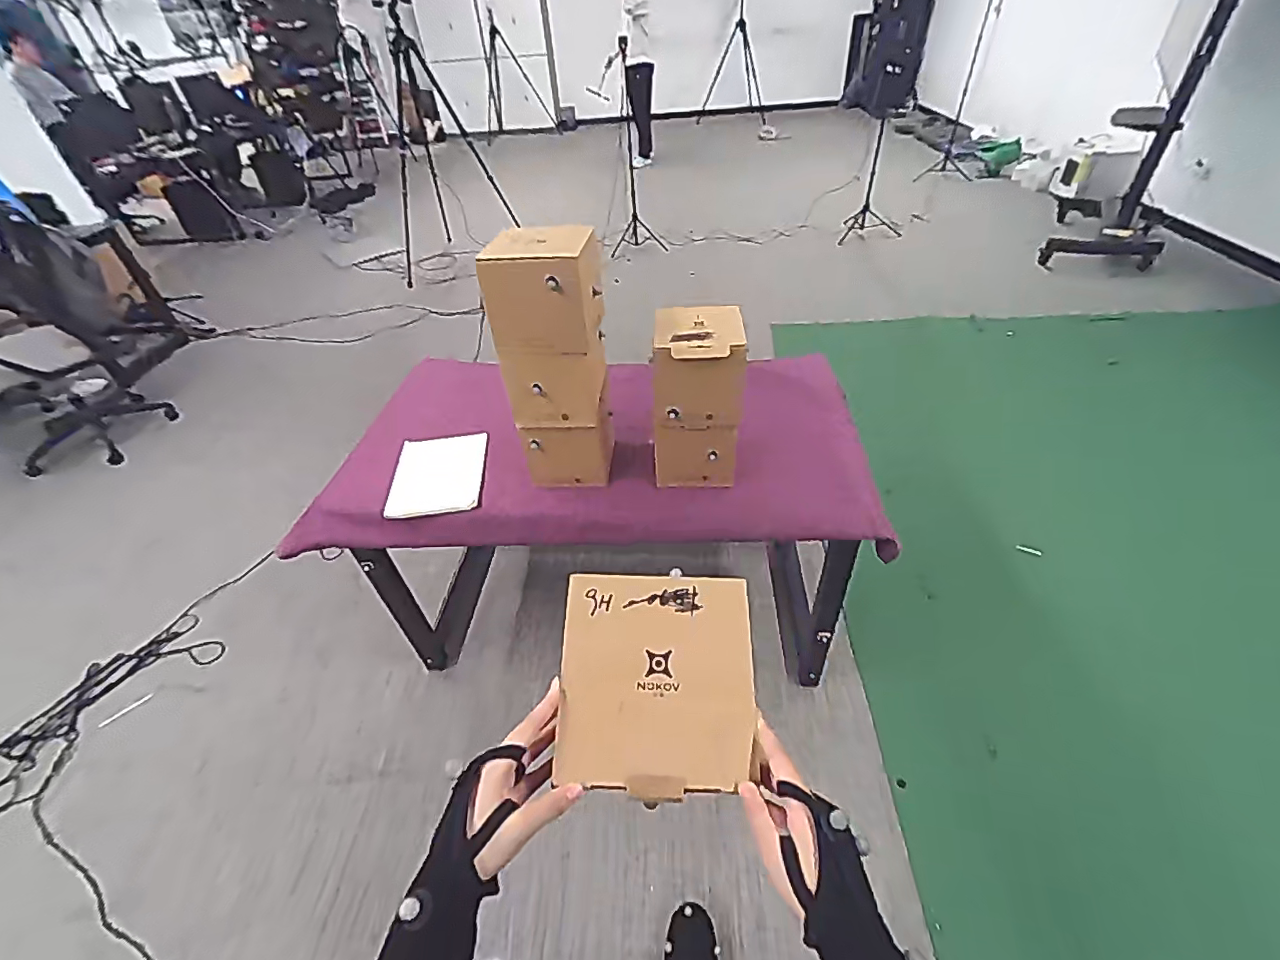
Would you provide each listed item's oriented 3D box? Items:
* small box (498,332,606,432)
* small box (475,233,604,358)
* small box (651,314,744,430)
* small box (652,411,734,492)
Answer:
[{"bbox_3d":[-0.164,-0.208,1.082,0.168,0.176,0.179,0,40,6],"label":"small box"},{"bbox_3d":[-0.166,-0.329,0.969,0.179,0.176,0.168,2,40,8],"label":"small box"},{"bbox_3d":[0.111,-0.210,1.059,0.168,0.176,0.179,0,40,4],"label":"small box"},{"bbox_3d":[0.116,-0.088,1.169,0.168,0.176,0.179,1,40,5],"label":"small box"}]
